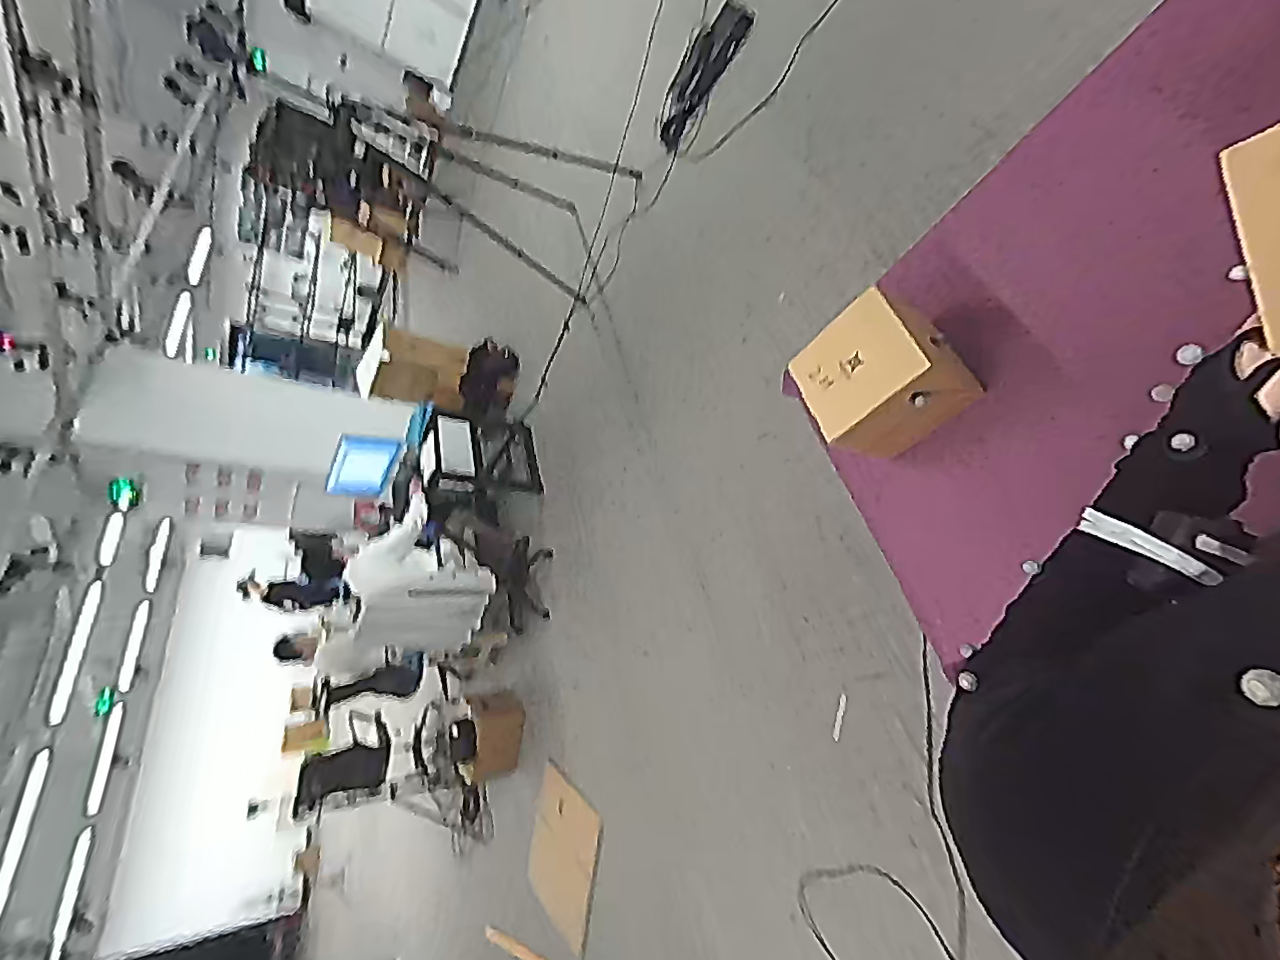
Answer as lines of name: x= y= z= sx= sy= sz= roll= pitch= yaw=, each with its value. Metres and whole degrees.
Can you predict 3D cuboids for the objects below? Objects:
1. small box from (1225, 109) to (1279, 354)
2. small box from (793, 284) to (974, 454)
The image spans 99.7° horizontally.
small box: x=0.548 y=-0.179 z=0.366 sx=0.168 sy=0.176 sz=0.179 roll=-16 pitch=75 yaw=58
small box: x=0.380 y=-0.162 z=0.841 sx=0.179 sy=0.176 sz=0.168 roll=-45 pitch=47 yaw=40
